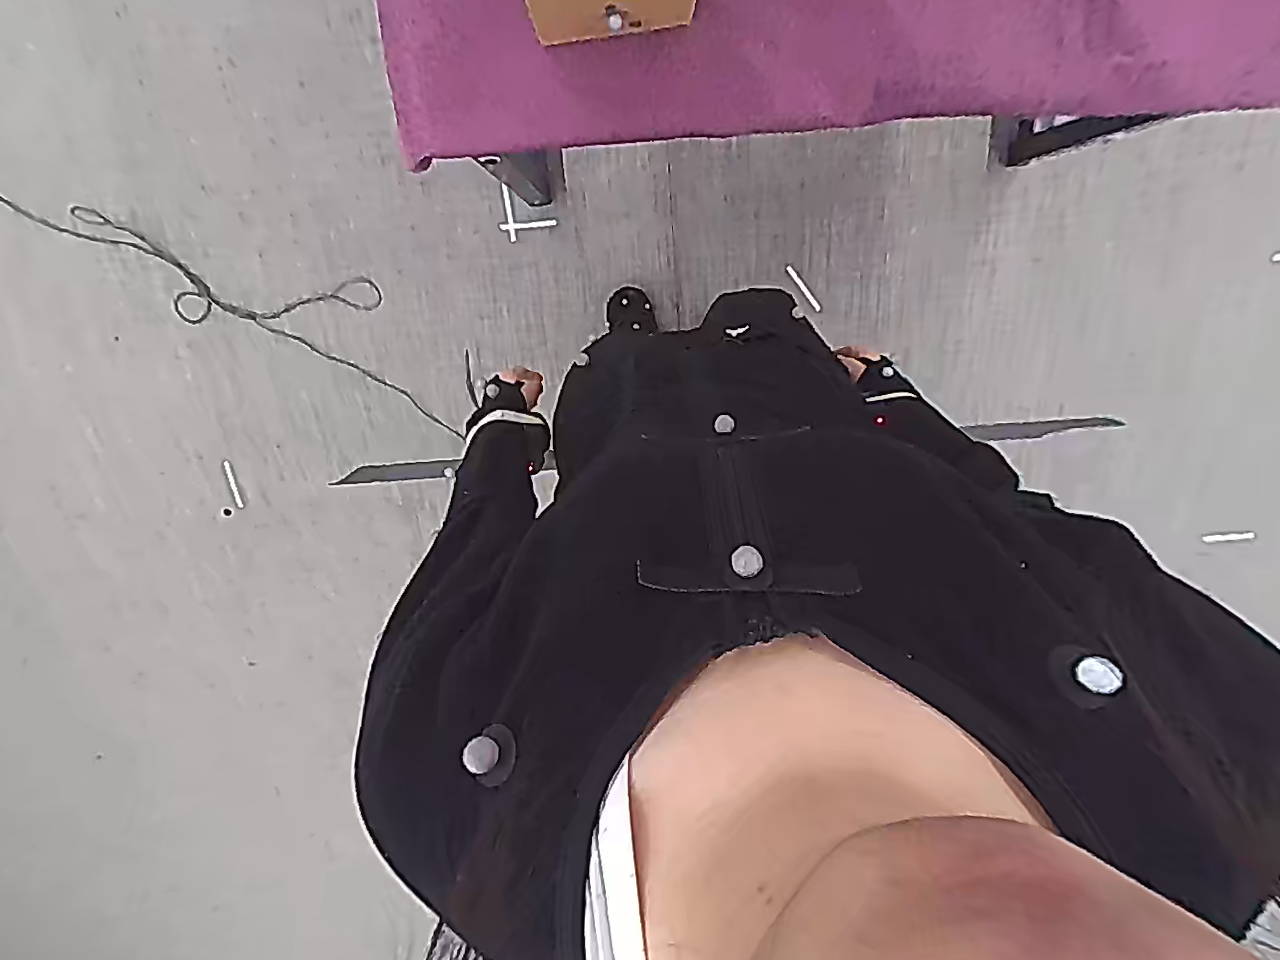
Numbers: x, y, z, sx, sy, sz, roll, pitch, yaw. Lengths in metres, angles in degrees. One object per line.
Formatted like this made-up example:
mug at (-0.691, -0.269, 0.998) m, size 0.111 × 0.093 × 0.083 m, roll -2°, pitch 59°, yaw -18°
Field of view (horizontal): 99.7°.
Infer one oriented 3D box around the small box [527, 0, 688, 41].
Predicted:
small box at (-0.039, -0.539, 0.481) m, size 0.168 × 0.176 × 0.179 m, roll -7°, pitch 109°, yaw 1°
